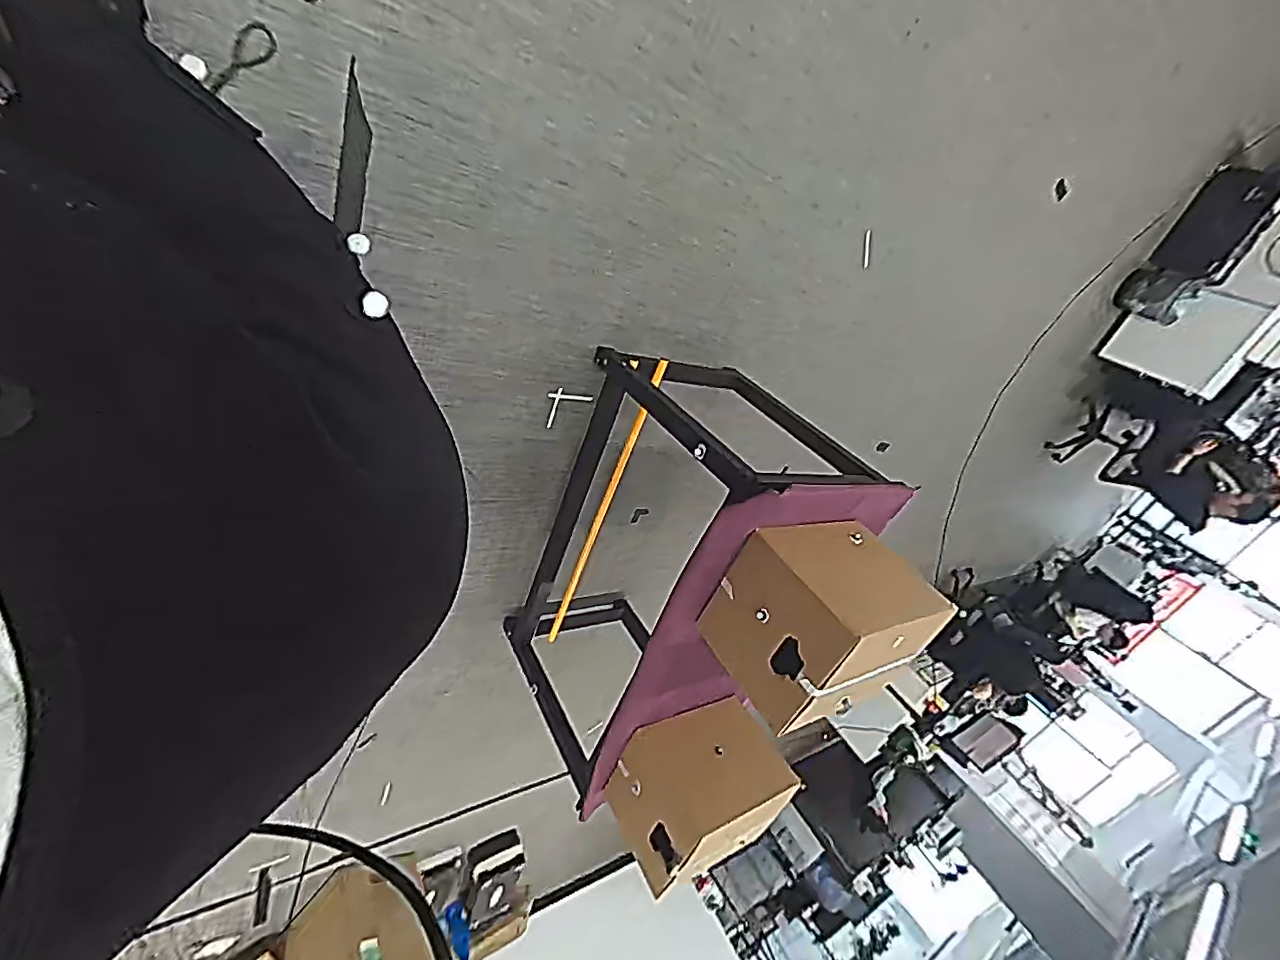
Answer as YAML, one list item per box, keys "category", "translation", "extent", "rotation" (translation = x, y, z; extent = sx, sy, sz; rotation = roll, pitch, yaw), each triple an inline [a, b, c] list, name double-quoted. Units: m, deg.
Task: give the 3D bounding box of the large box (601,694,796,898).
- category: "large box"
  translation: [0.158, 0.887, 1.570]
  extent: [0.408, 0.320, 0.320]
  rotation: [-1, 126, -39]
